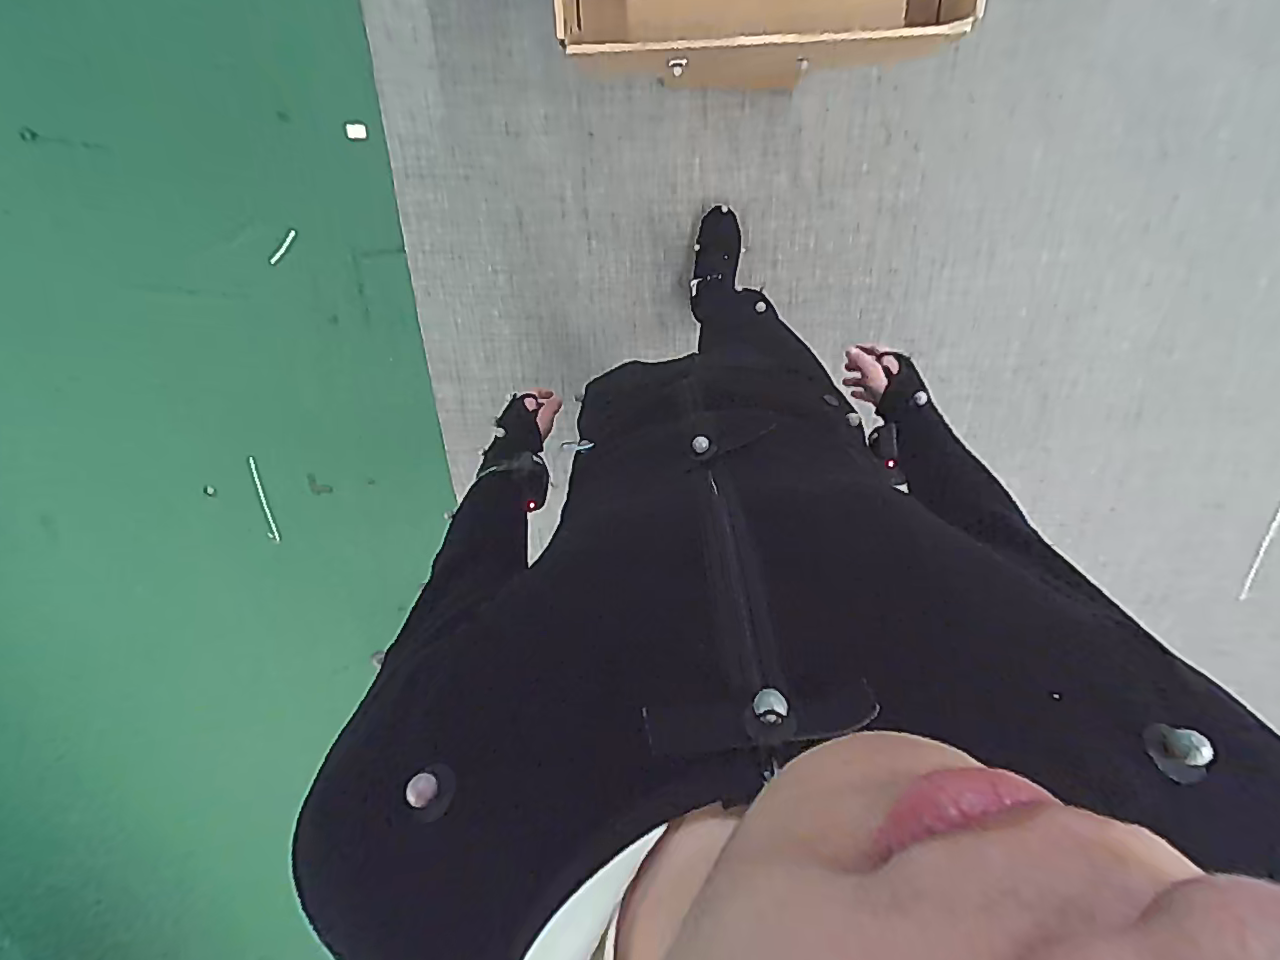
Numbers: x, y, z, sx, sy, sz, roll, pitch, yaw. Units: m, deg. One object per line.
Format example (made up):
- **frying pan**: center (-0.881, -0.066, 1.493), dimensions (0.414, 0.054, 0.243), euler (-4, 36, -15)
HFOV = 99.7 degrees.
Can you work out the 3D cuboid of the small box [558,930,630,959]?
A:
- **small box**: center (-0.121, 1.274, 1.359), dimensions (0.179, 0.176, 0.168), euler (-1, 113, 4)
